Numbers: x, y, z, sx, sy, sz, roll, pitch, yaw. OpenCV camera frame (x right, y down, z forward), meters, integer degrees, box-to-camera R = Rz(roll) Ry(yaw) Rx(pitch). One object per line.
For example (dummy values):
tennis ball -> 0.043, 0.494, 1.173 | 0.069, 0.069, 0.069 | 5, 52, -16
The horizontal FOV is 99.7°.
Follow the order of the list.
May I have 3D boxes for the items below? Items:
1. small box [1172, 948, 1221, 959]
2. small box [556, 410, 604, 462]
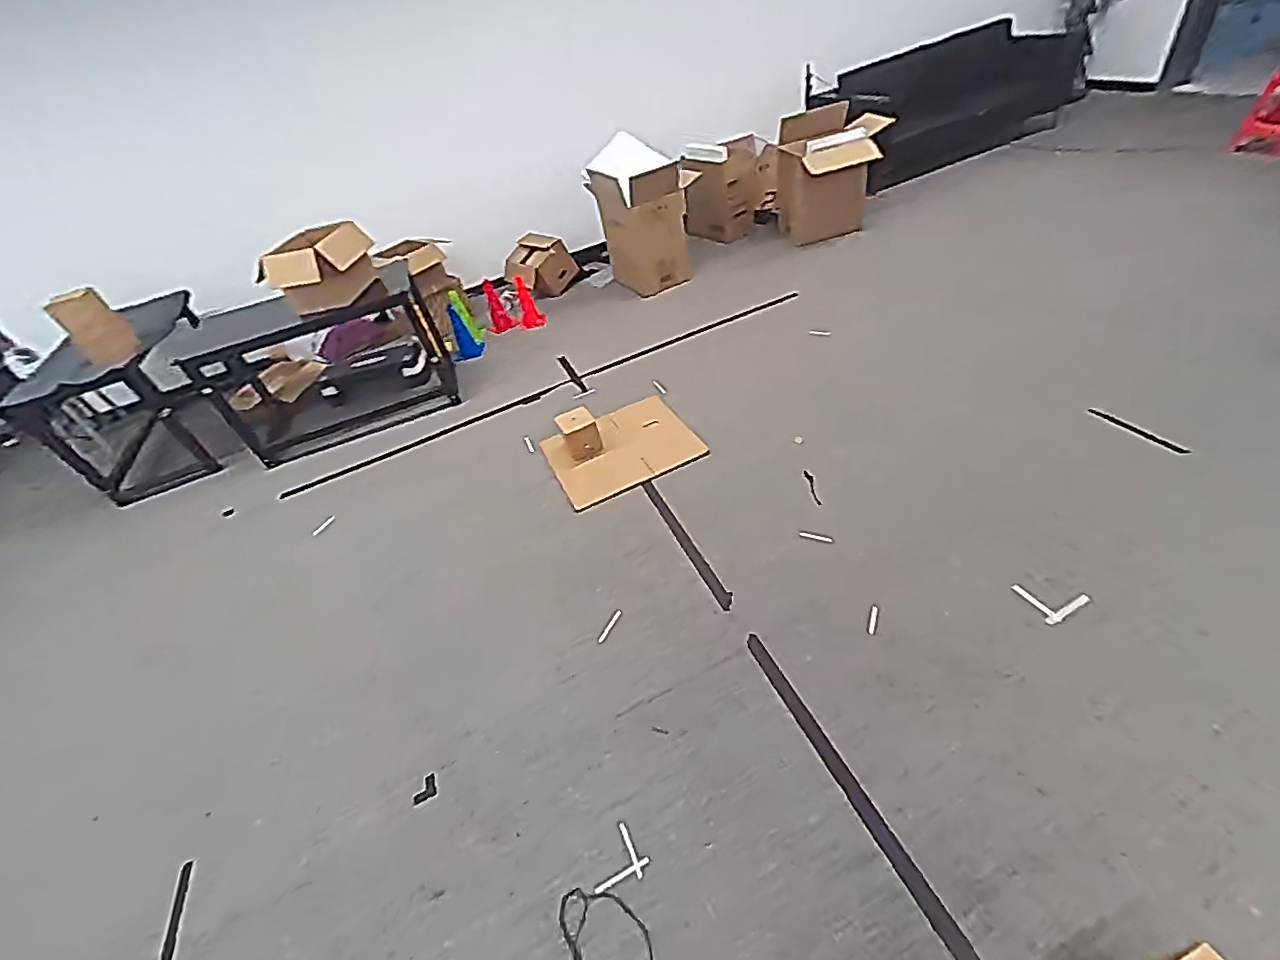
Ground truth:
small box -> 0.923, 0.919, 0.882 | 0.168, 0.176, 0.179 | -22, 41, -10
small box -> -0.301, -0.220, 2.719 | 0.168, 0.176, 0.179 | -25, 42, -11
